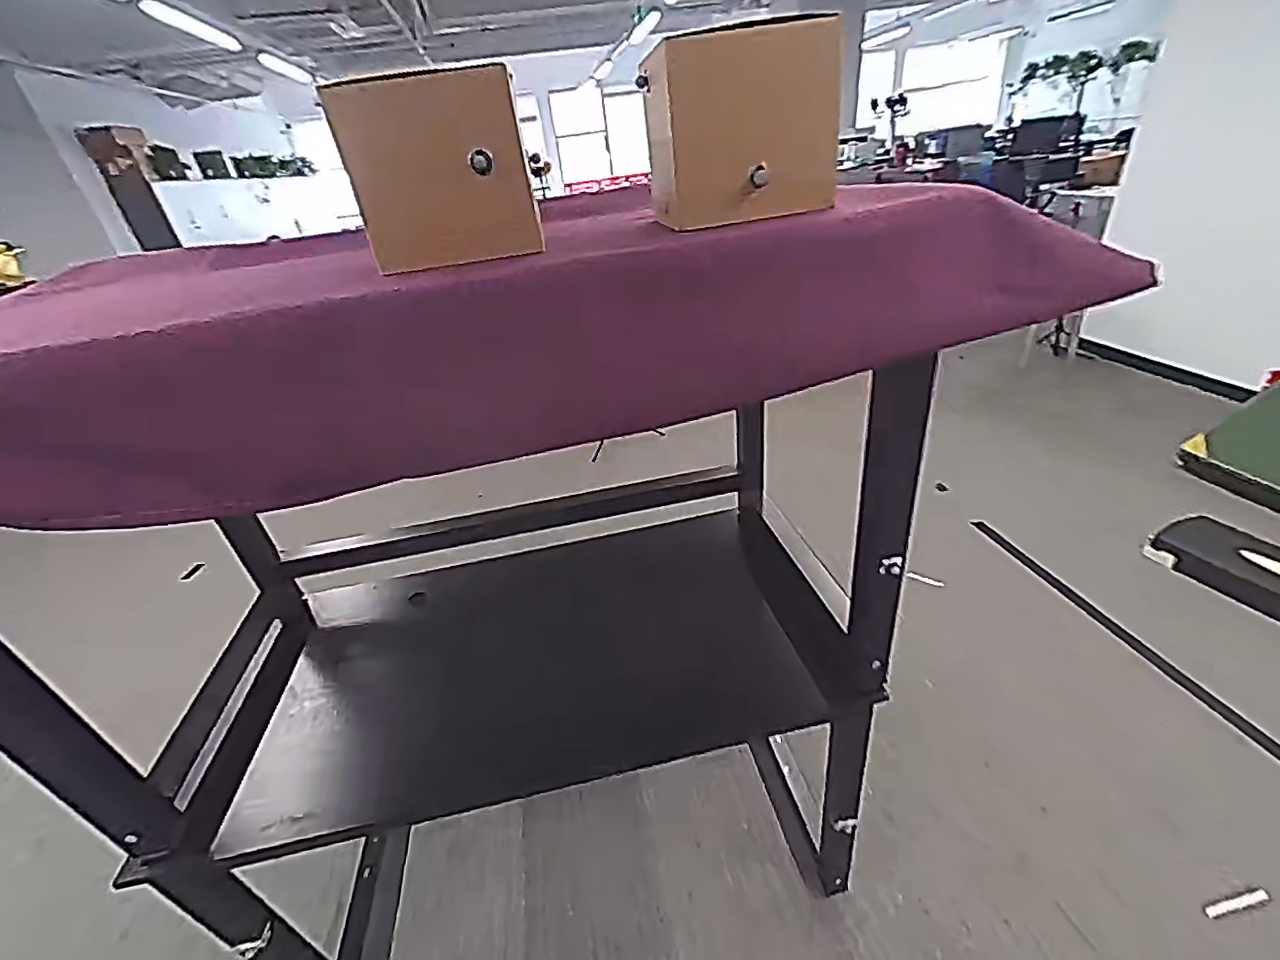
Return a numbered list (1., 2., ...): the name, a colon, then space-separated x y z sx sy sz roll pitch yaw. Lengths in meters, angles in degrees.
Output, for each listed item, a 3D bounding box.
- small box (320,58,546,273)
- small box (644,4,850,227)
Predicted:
1. small box: -0.205 -0.340 0.599 0.179 0.176 0.168 -11 30 -3
2. small box: 0.108 -0.391 0.600 0.179 0.176 0.168 -10 30 -3
